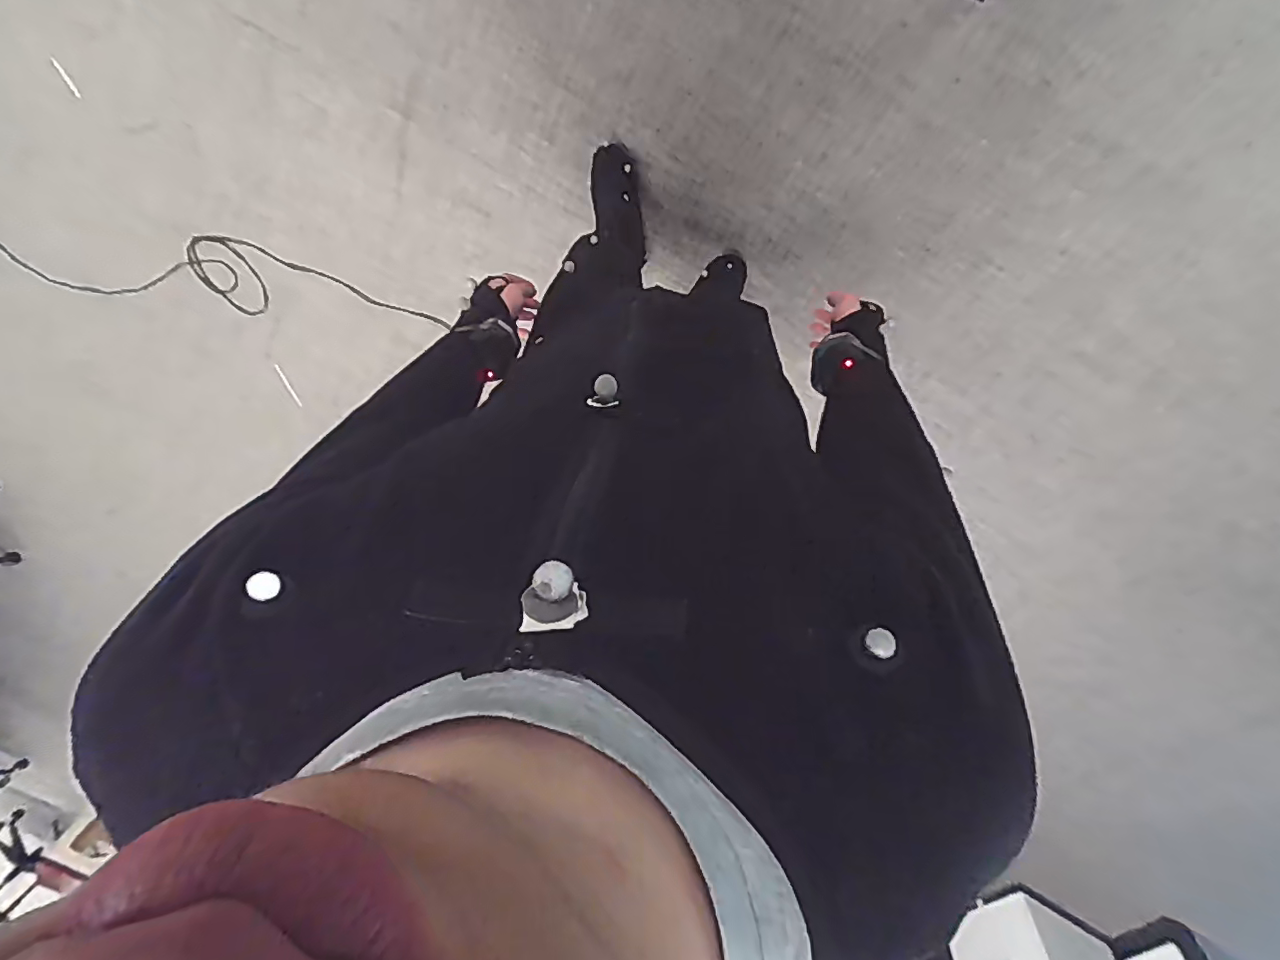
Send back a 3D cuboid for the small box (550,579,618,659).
[{"bbox_3d":[-0.191,0.483,1.900,0.168,0.176,0.179,31,118,-8],"label":"small box"}]
